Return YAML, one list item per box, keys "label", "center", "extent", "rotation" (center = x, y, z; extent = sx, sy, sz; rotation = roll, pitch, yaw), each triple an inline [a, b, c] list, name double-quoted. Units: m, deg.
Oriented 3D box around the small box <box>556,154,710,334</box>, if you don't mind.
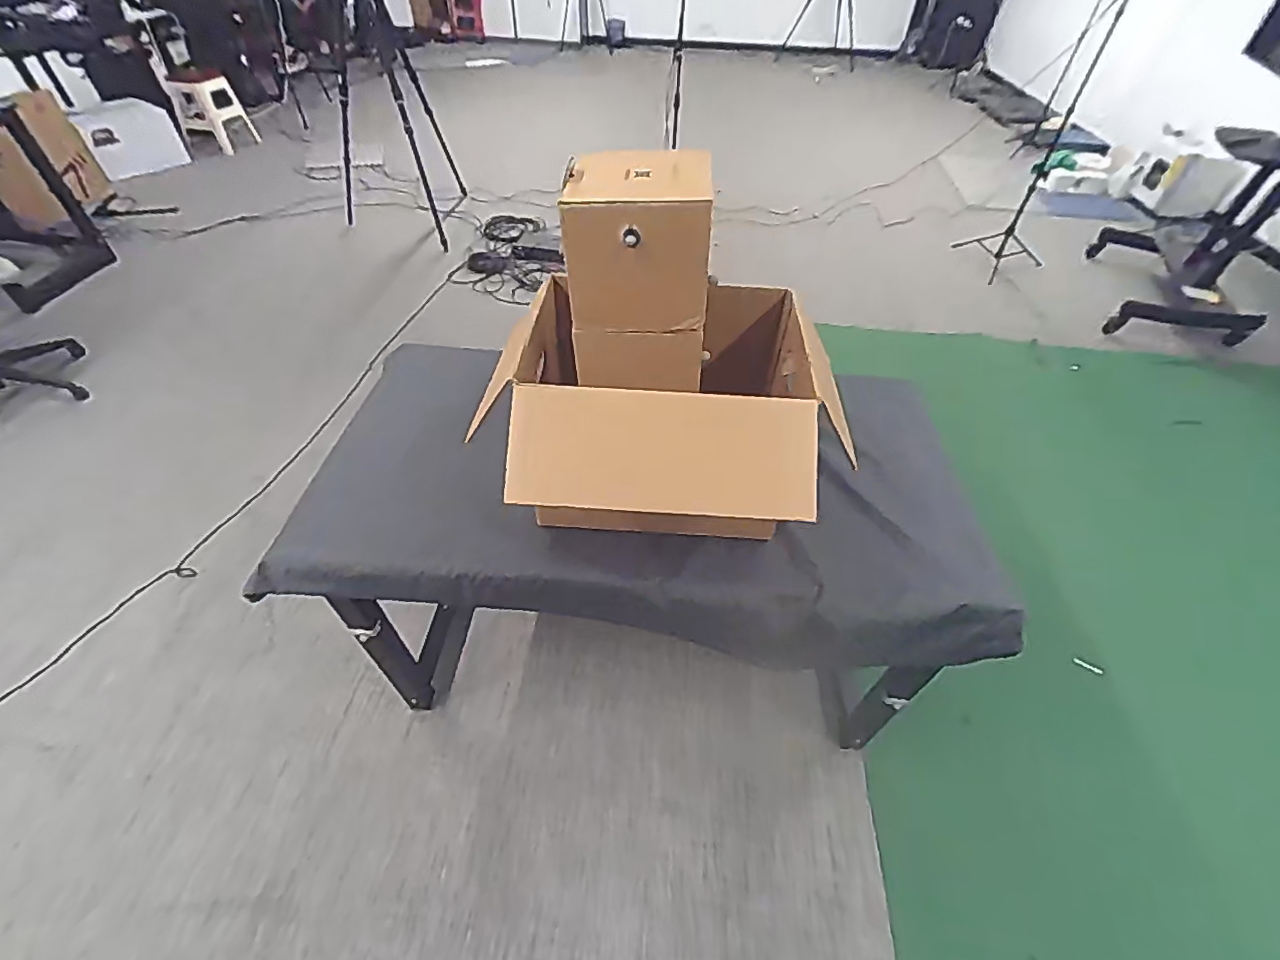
- label: "small box"
  center: [-0.002, -0.308, 0.712]
  extent: [0.179, 0.176, 0.168]
  rotation: [1, 49, 2]
